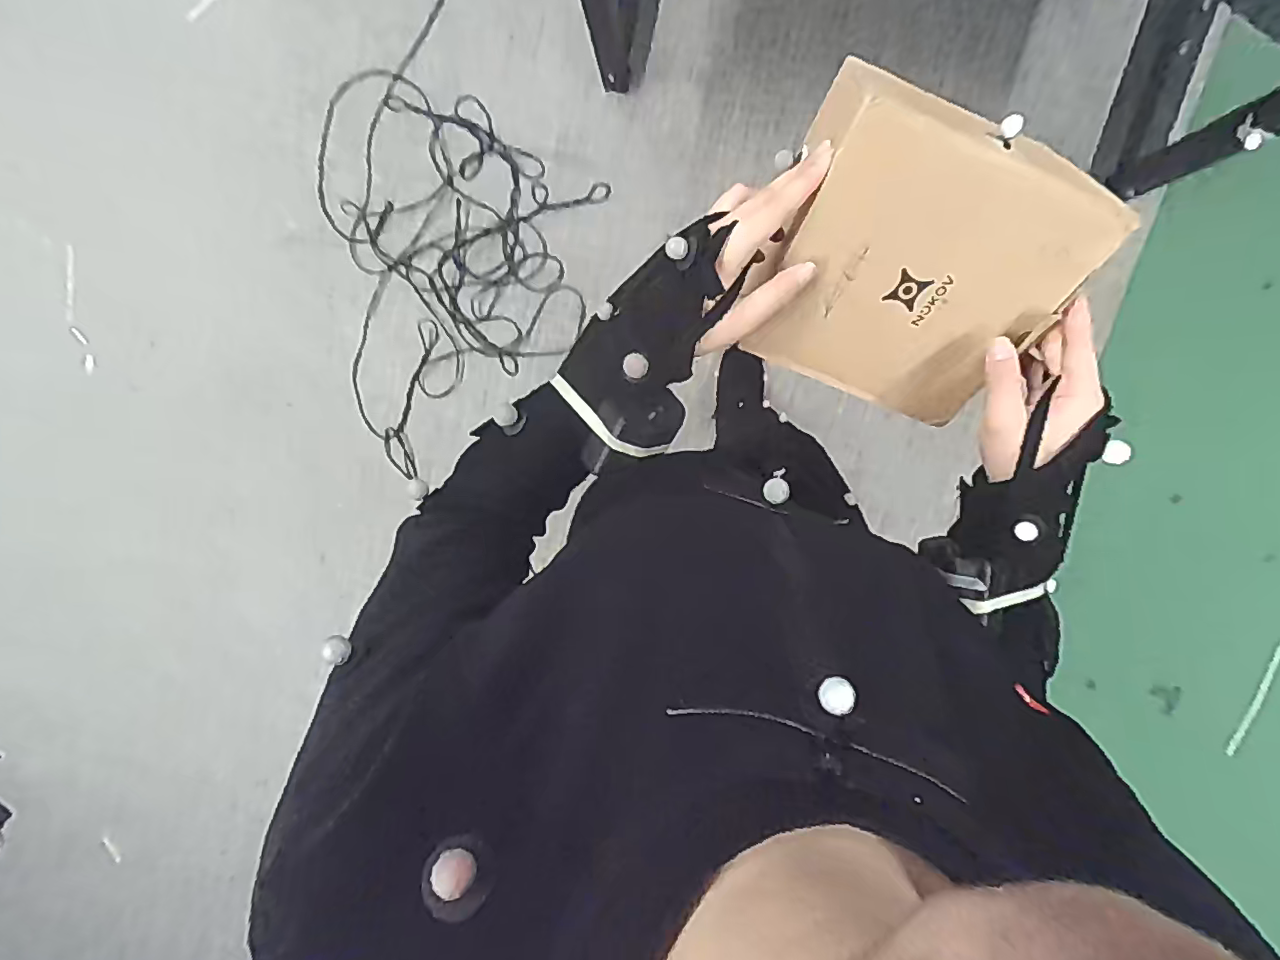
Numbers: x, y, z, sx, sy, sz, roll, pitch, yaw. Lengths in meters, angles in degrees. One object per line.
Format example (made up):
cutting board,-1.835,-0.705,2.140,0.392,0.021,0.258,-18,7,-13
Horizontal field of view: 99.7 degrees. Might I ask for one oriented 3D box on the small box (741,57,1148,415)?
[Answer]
small box,0.192,-0.184,0.401,0.179,0.176,0.168,20,133,-4
